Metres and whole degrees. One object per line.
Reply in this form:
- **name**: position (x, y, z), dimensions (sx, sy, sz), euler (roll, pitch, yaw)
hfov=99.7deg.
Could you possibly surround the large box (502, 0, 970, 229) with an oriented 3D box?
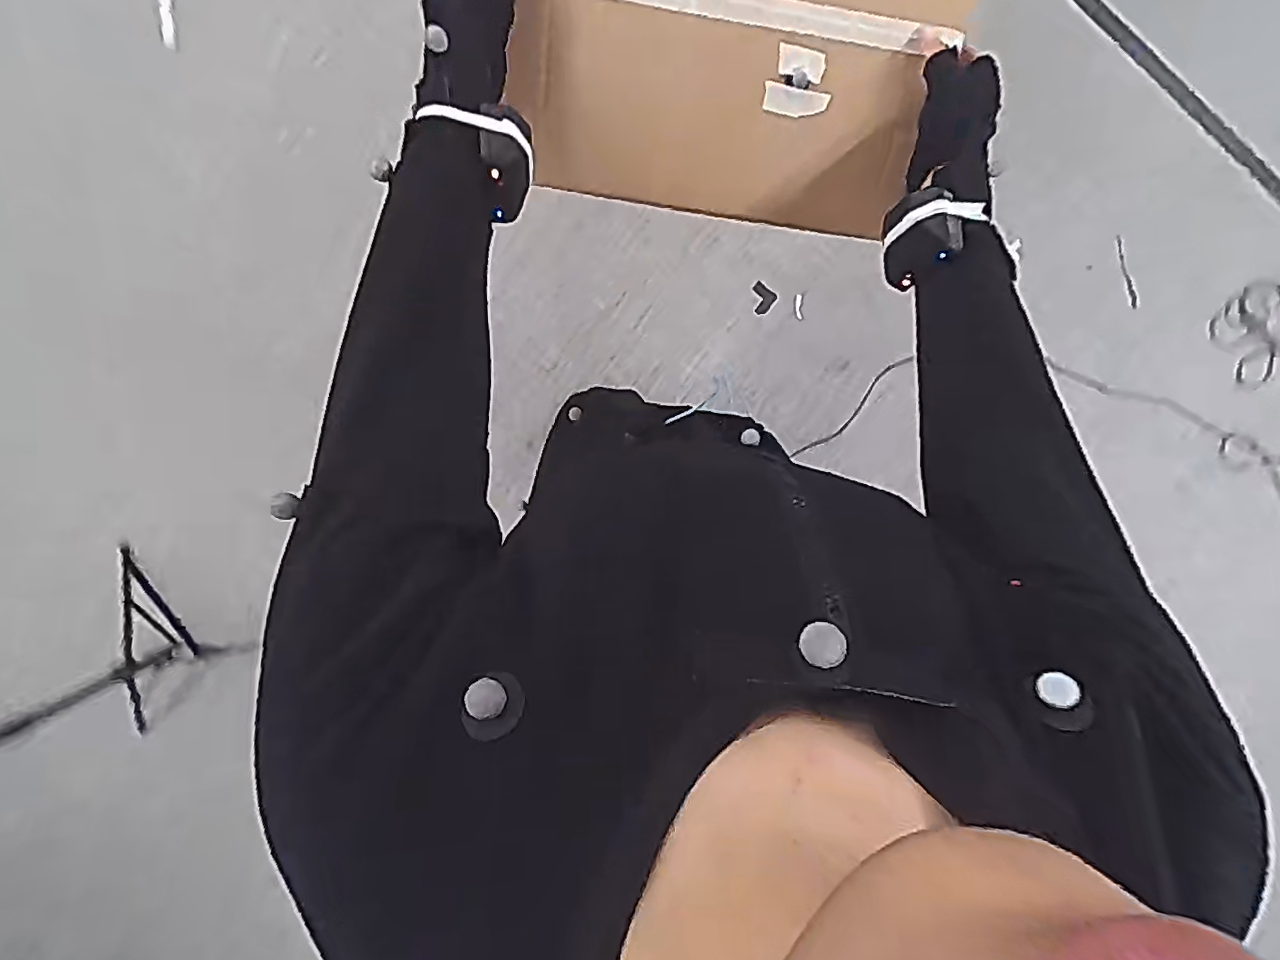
- **large box**: position (0.079, -0.480, 0.596), dimensions (0.408, 0.320, 0.320), euler (7, 117, -6)
